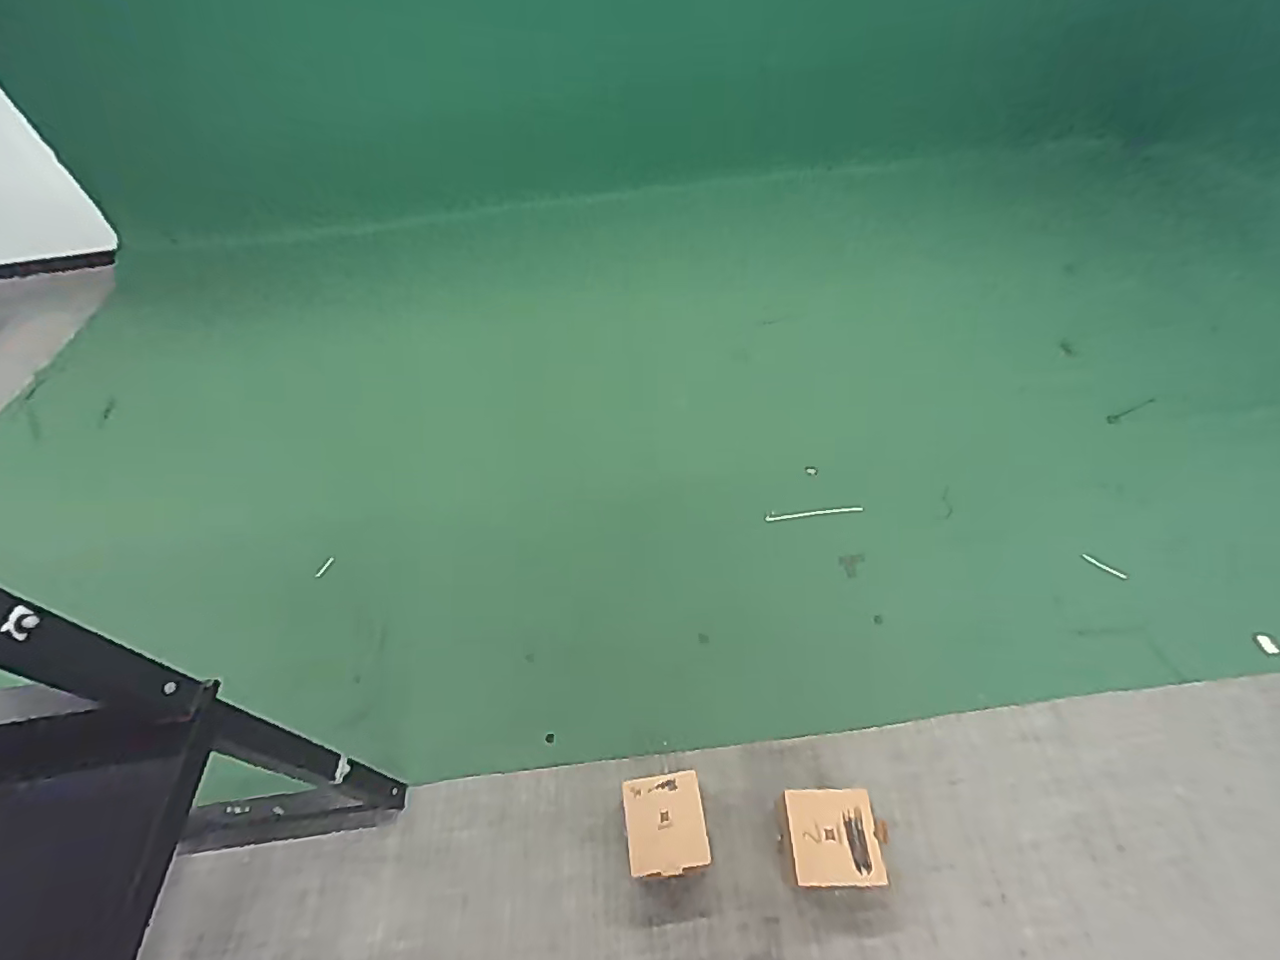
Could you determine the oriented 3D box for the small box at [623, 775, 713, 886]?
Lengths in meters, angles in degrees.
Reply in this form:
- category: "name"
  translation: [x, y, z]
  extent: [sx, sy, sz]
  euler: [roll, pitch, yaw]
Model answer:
- category: "small box"
  translation: [0.062, 0.763, 1.175]
  extent: [0.168, 0.176, 0.179]
  euler: [-9, 51, -1]
